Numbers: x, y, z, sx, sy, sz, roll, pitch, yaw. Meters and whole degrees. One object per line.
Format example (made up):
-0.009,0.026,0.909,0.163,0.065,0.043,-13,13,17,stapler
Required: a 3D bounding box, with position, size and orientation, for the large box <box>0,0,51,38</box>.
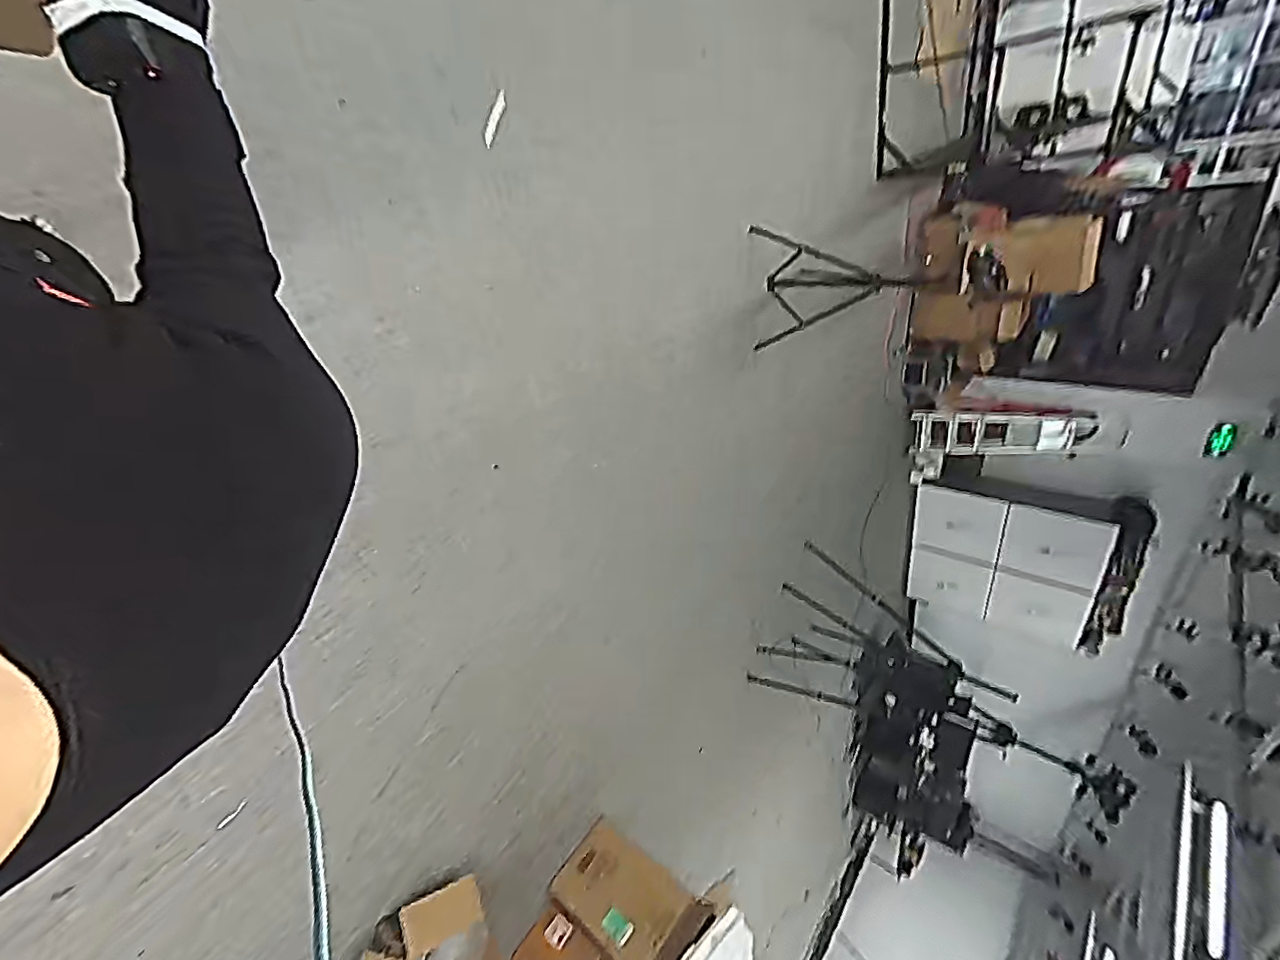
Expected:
-0.601,-0.458,0.237,0.408,0.320,0.320,-25,127,-45,large box
